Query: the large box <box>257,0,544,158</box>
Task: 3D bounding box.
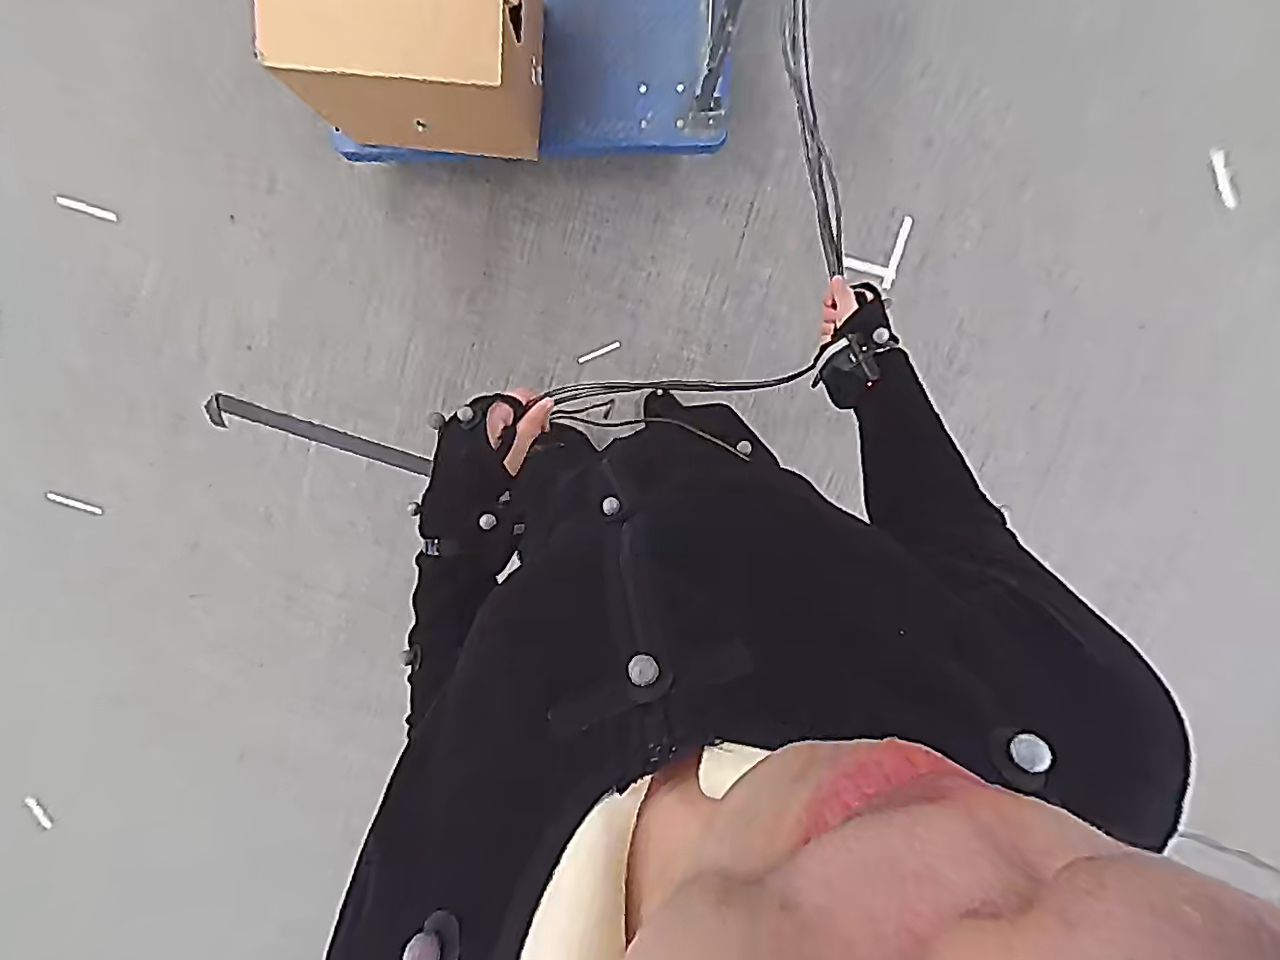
[{"bbox_3d":[-0.405,-0.828,1.000,0.408,0.320,0.320,5,100,0],"label":"large box"}]
